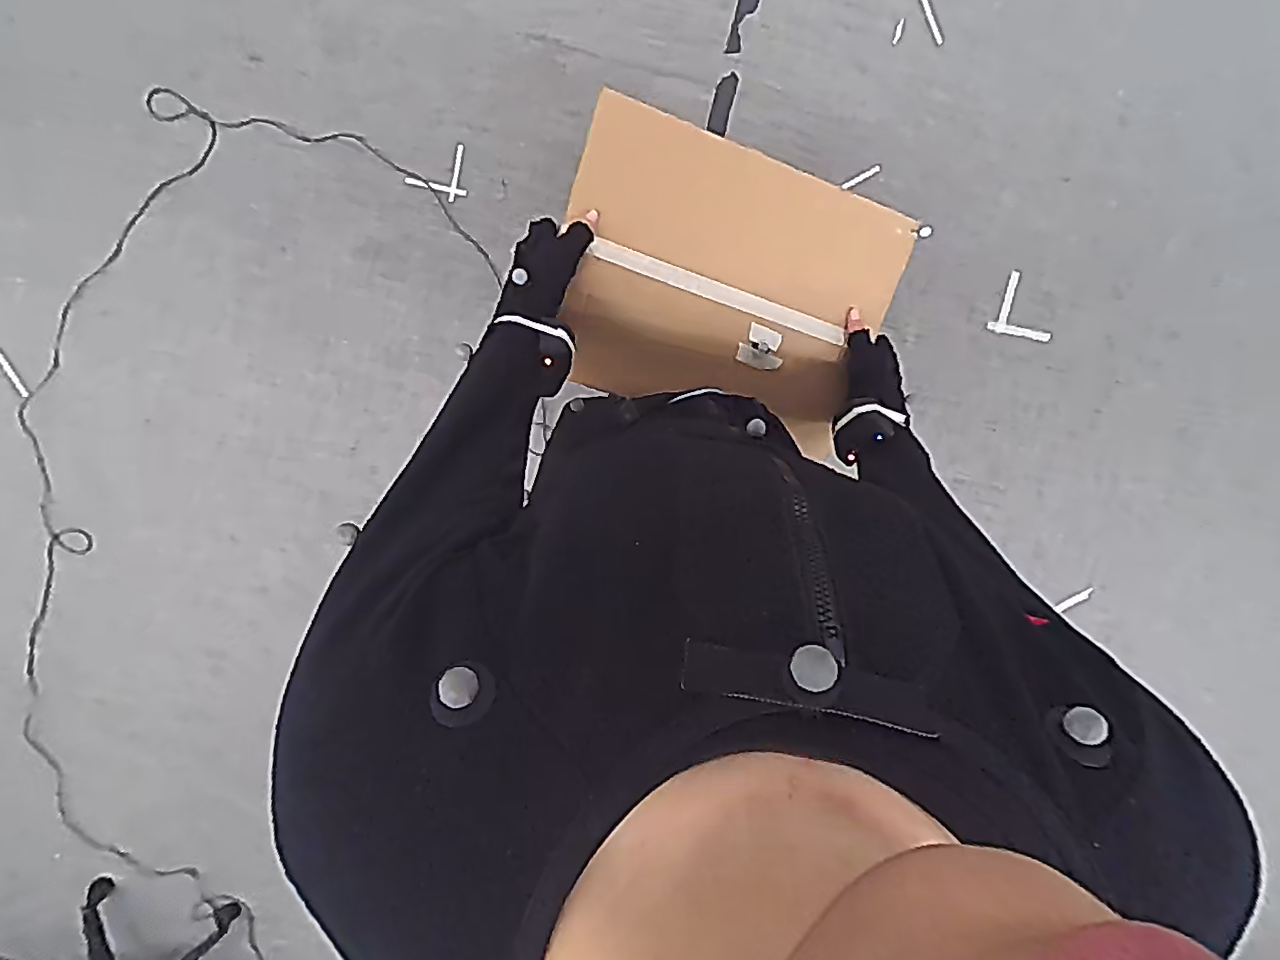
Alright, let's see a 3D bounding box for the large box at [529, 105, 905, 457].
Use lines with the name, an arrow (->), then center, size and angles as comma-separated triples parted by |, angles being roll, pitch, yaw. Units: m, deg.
large box -> 0.078, -0.259, 0.804 | 0.408, 0.320, 0.320 | 17, 102, -10
